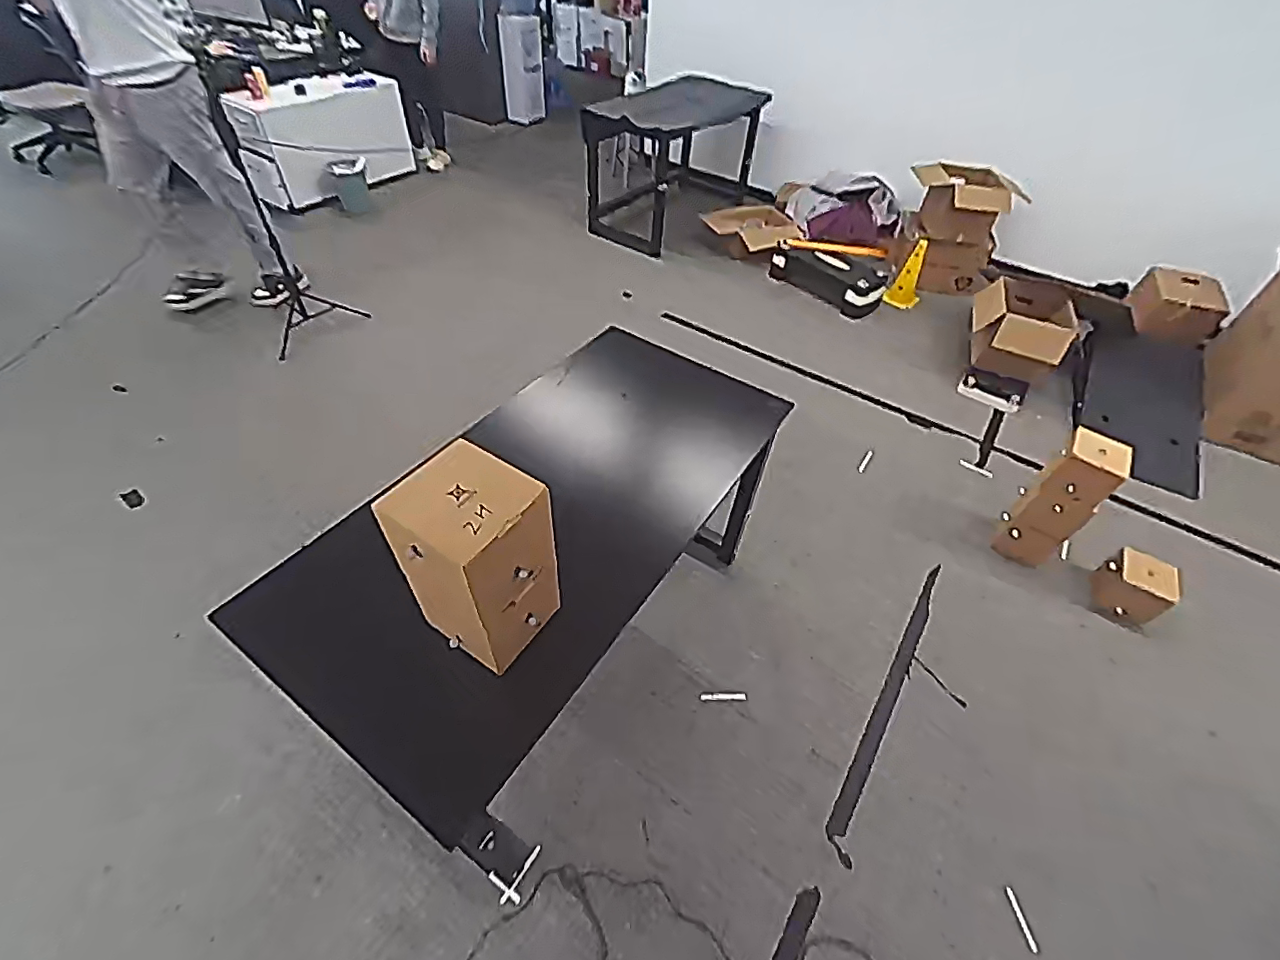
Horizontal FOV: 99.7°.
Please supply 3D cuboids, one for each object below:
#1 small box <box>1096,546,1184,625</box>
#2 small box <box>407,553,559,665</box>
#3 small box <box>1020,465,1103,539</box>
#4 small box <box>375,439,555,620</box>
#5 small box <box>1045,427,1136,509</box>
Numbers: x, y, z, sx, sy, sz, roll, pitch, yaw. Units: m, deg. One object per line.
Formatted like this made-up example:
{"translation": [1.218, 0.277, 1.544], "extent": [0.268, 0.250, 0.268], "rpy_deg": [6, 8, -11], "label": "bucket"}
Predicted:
{"translation": [1.748, 0.372, 1.896], "extent": [0.168, 0.176, 0.179], "rpy_deg": [27, 52, 20], "label": "small box"}
{"translation": [-0.253, 0.187, 0.918], "extent": [0.179, 0.176, 0.168], "rpy_deg": [27, 51, 19], "label": "small box"}
{"translation": [1.492, 0.078, 1.917], "extent": [0.179, 0.176, 0.168], "rpy_deg": [30, 52, 19], "label": "small box"}
{"translation": [-0.245, 0.075, 0.797], "extent": [0.179, 0.176, 0.168], "rpy_deg": [28, 52, 19], "label": "small box"}
{"translation": [1.498, -0.040, 1.804], "extent": [0.168, 0.176, 0.179], "rpy_deg": [31, 53, 21], "label": "small box"}
